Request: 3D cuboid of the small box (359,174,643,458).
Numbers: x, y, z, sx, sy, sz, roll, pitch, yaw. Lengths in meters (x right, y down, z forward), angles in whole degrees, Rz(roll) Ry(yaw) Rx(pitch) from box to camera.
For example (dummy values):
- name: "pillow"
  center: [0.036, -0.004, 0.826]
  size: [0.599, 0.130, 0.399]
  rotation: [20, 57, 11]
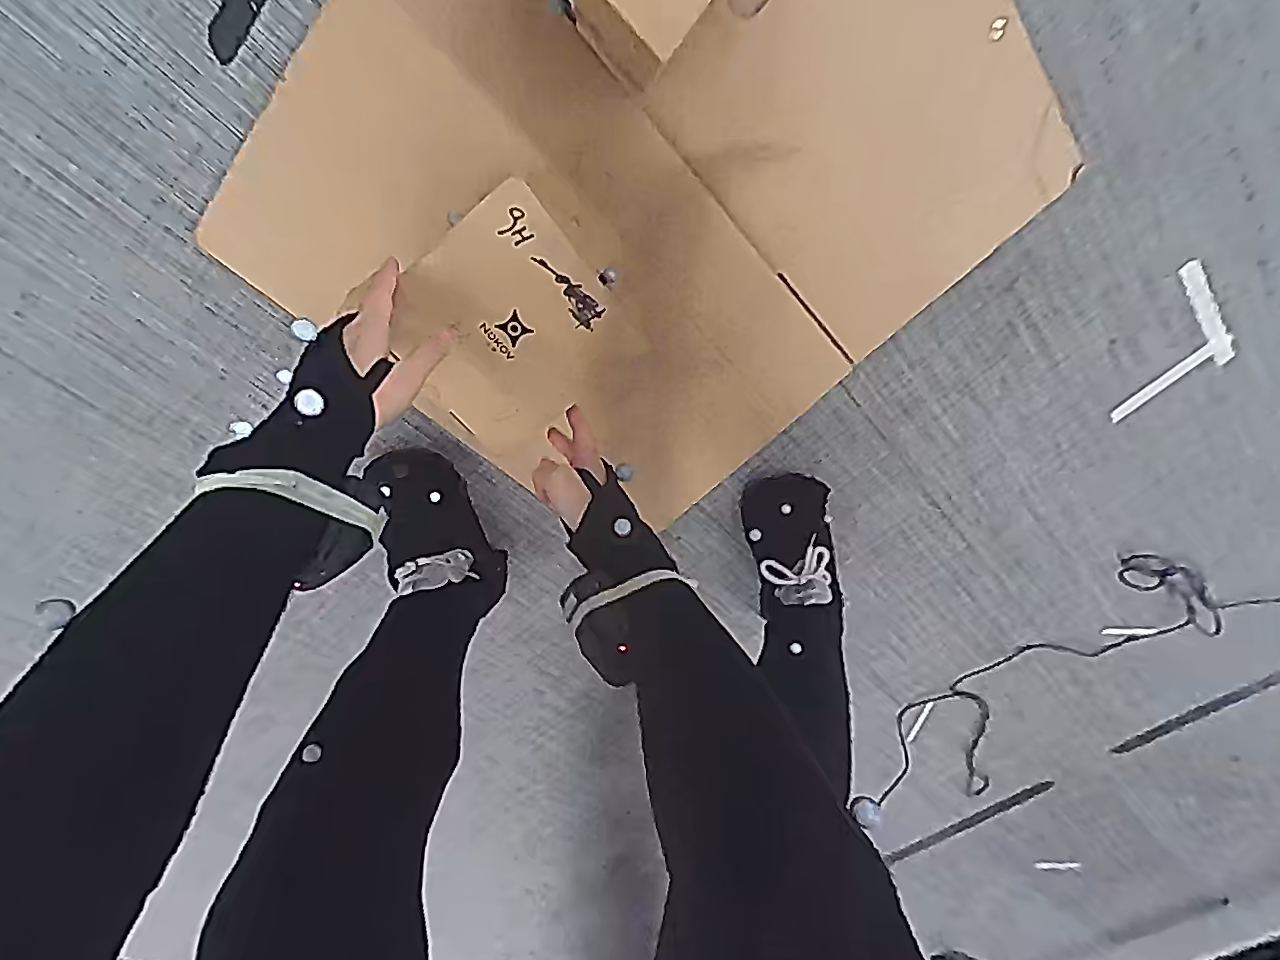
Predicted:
- name: "small box"
  center: [-0.114, -0.158, 0.512]
  size: [0.179, 0.176, 0.168]
  rotation: [-33, 118, 15]

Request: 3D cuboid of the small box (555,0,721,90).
- name: "small box"
  center: [0.007, -0.418, 0.376]
  size: [0.168, 0.176, 0.179]
  rotation: [36, 112, -22]
